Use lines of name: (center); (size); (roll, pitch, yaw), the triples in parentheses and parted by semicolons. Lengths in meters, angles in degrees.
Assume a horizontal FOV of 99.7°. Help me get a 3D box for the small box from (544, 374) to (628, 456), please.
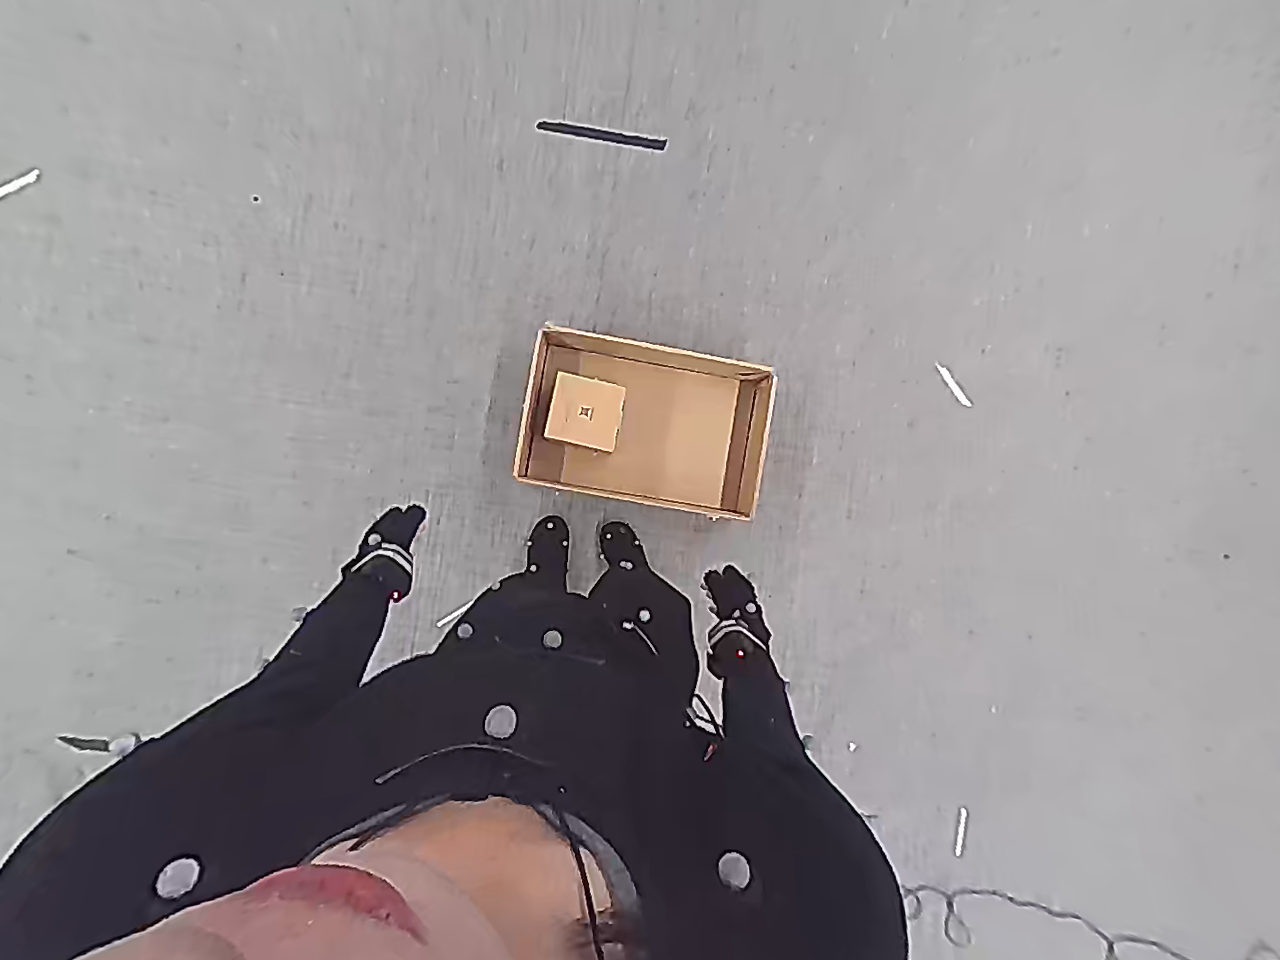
small box: (-0.138, -0.160, 1.394); (0.179, 0.176, 0.168); (13, 88, -5)
